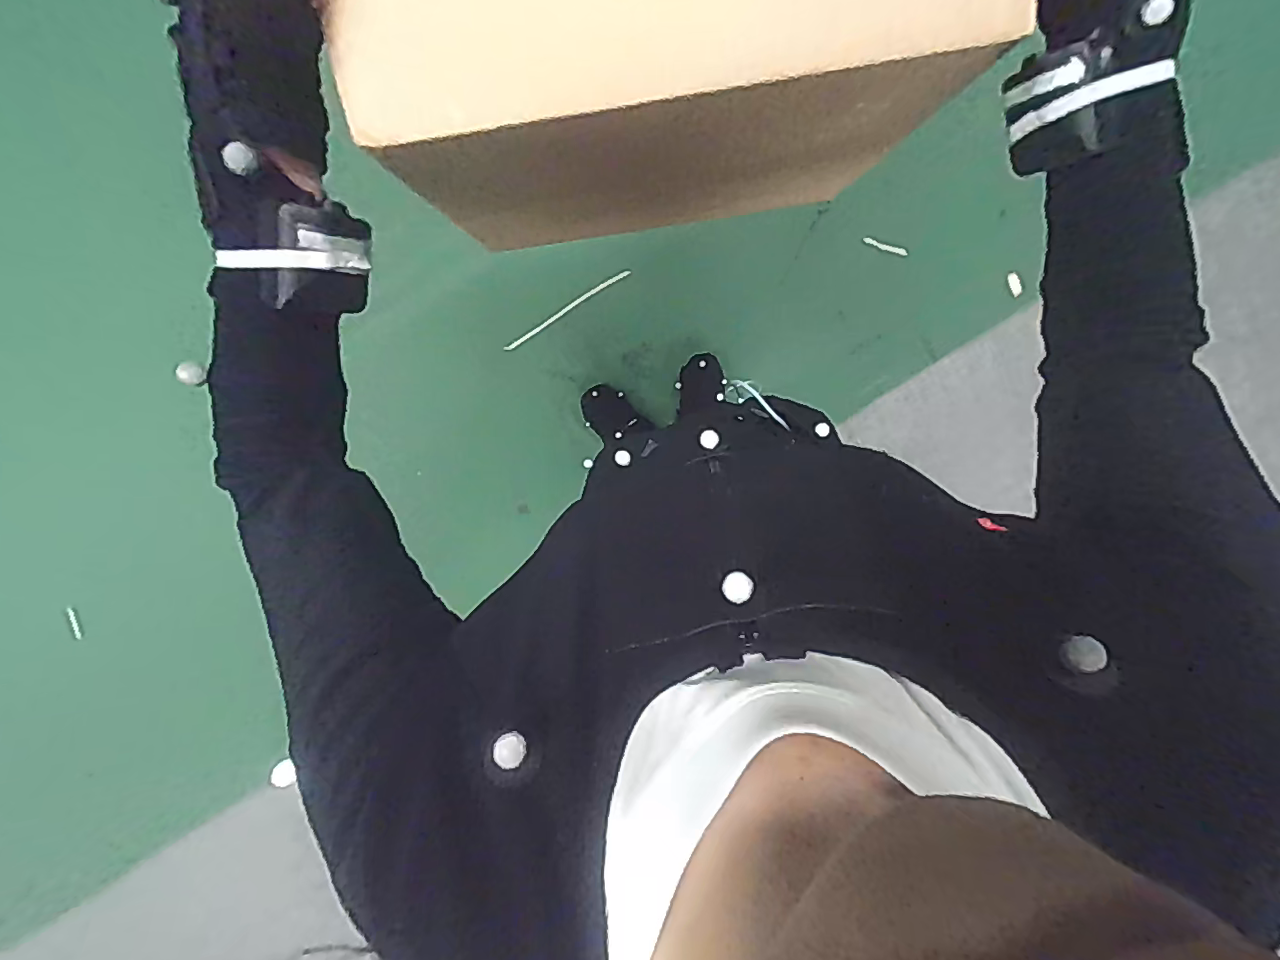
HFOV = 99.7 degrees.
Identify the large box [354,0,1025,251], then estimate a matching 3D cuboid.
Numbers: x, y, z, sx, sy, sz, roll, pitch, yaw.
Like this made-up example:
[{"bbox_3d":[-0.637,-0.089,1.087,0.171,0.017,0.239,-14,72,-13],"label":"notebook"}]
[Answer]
[{"bbox_3d":[0.009,-0.412,0.446,0.408,0.320,0.320,-9,102,-1],"label":"large box"}]
